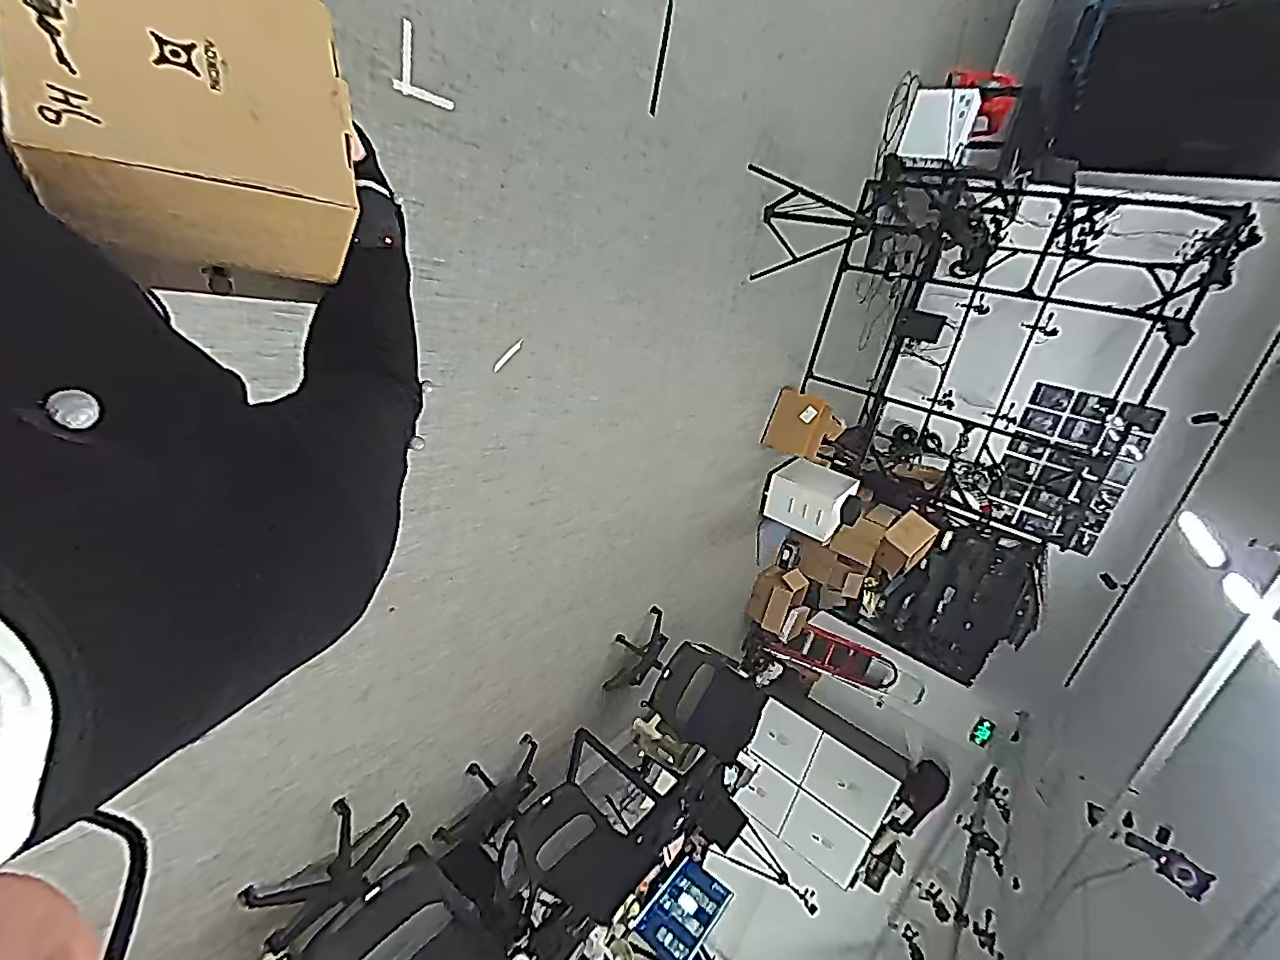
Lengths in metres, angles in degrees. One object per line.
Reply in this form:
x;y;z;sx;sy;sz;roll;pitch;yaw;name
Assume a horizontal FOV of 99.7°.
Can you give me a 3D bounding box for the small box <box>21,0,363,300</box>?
-0.342;-0.261;0.432;0.179;0.176;0.168;-7;84;-38;small box
